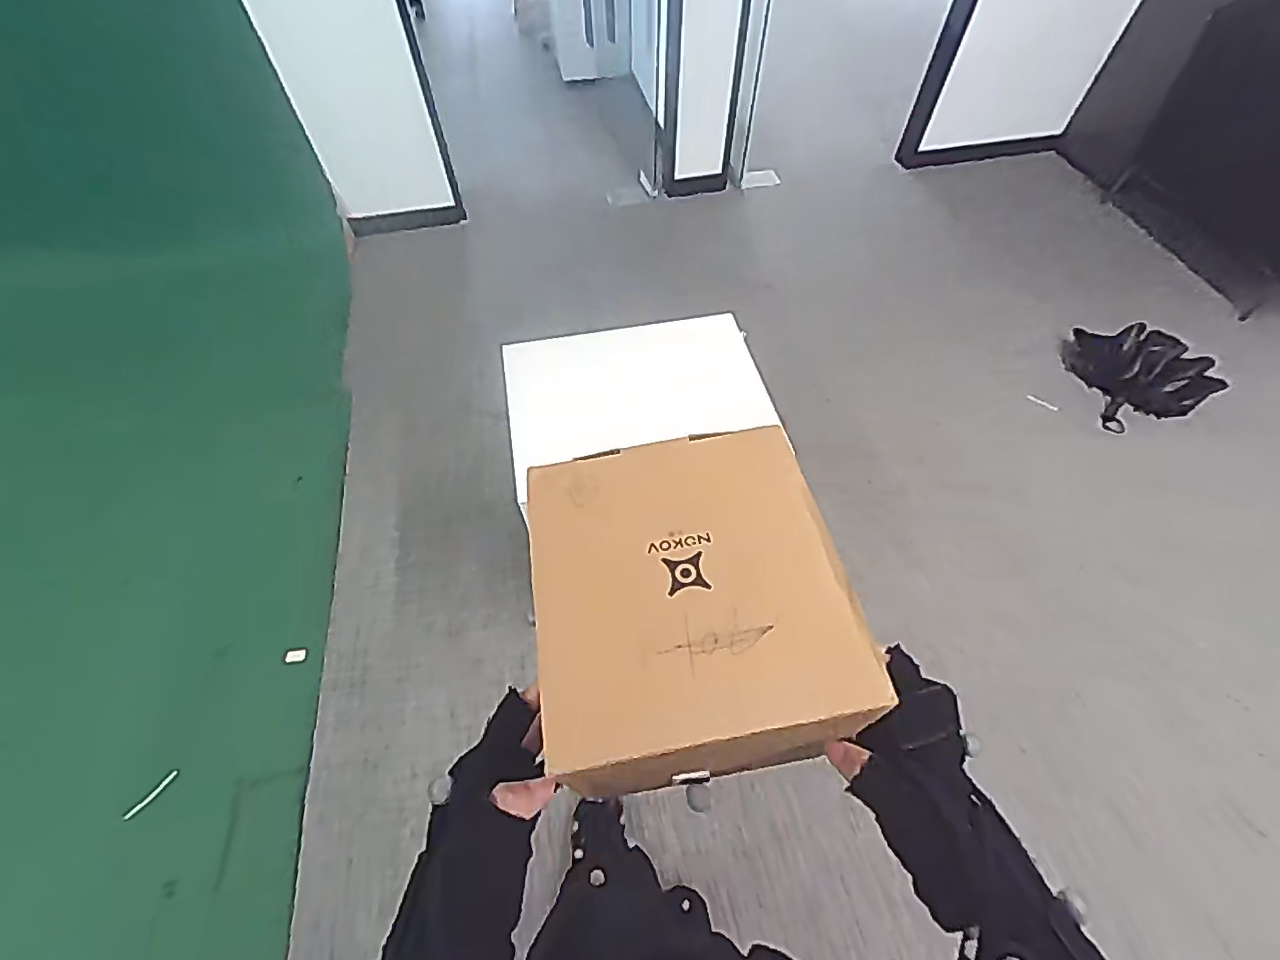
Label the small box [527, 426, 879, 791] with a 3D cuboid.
[{"bbox_3d":[0.025,0.093,0.366,0.168,0.176,0.179,-11,56,-2],"label":"small box"}]
